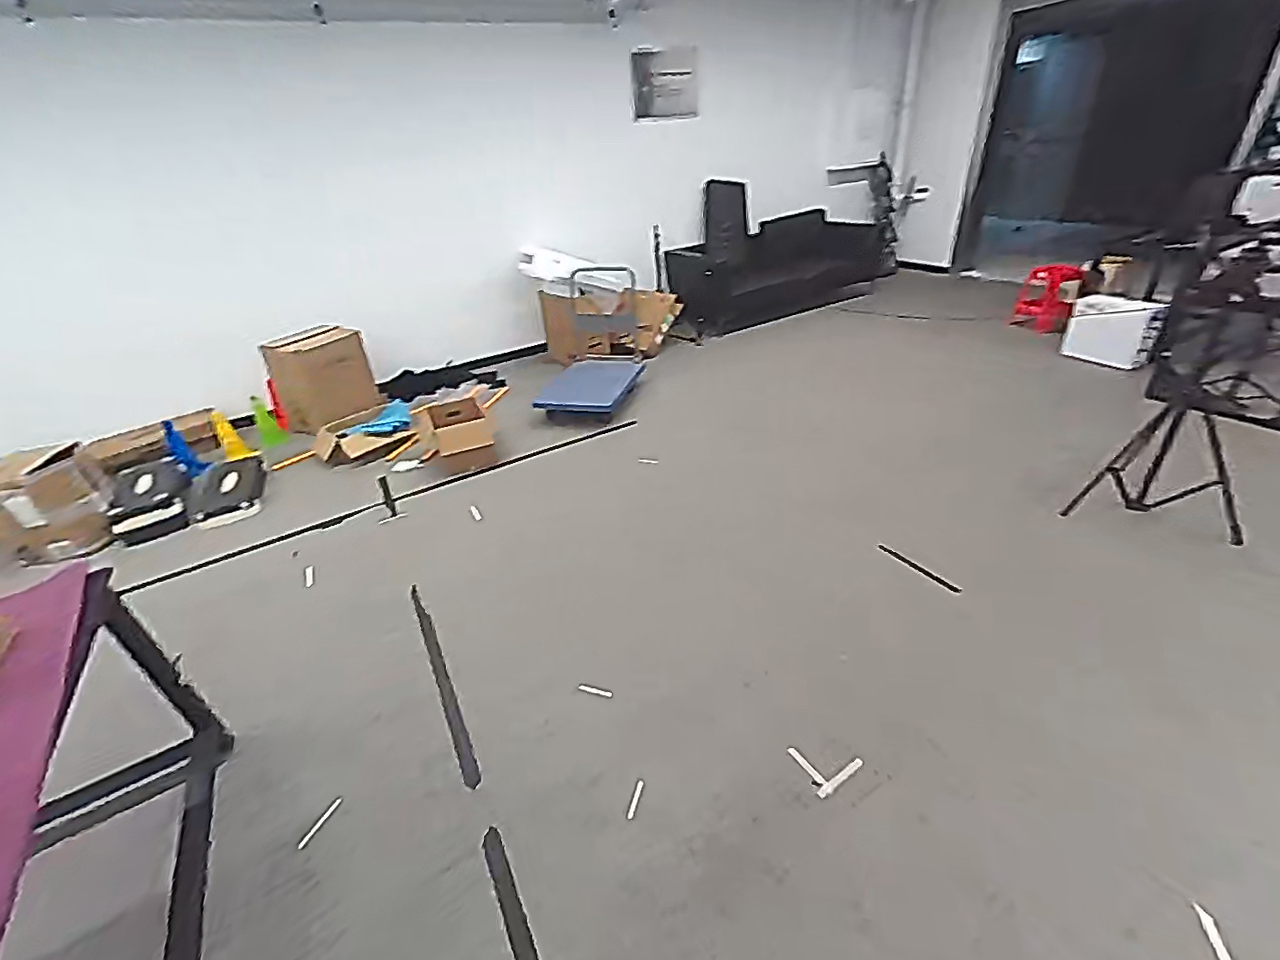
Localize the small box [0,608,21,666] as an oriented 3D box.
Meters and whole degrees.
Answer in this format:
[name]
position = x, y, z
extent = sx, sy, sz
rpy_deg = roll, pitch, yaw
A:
[small box]
position = -1.471, 0.342, 1.114
extent = 0.179, 0.176, 0.168
rpy_deg = -21, 35, -22
